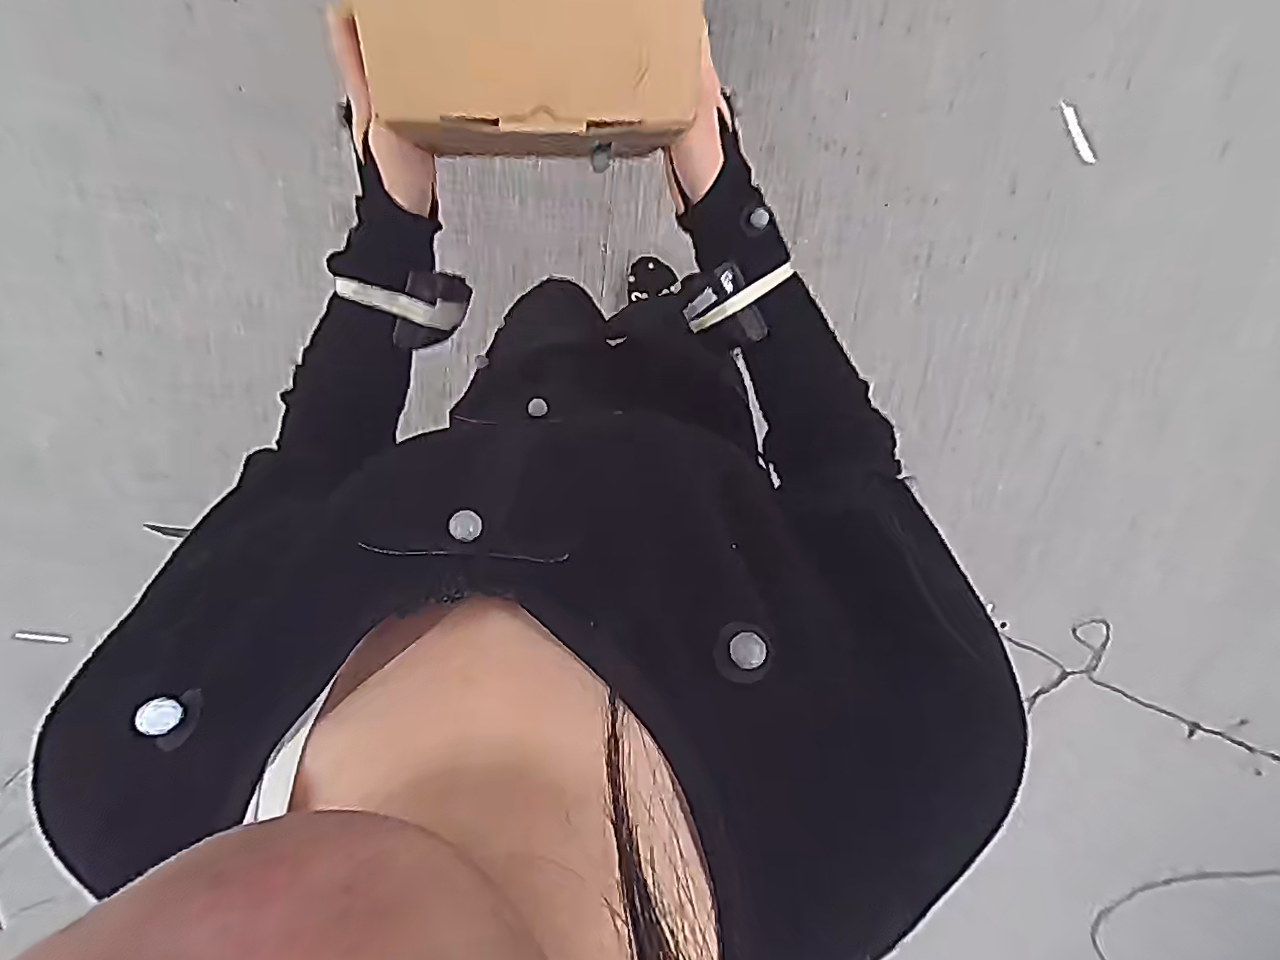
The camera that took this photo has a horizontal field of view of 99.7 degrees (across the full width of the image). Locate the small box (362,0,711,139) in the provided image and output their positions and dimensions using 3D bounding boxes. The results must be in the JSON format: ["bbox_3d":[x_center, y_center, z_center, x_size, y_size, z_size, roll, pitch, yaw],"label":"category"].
[{"bbox_3d":[-0.058,-0.302,0.303,0.168,0.176,0.179,-5,116,-9],"label":"small box"}]
